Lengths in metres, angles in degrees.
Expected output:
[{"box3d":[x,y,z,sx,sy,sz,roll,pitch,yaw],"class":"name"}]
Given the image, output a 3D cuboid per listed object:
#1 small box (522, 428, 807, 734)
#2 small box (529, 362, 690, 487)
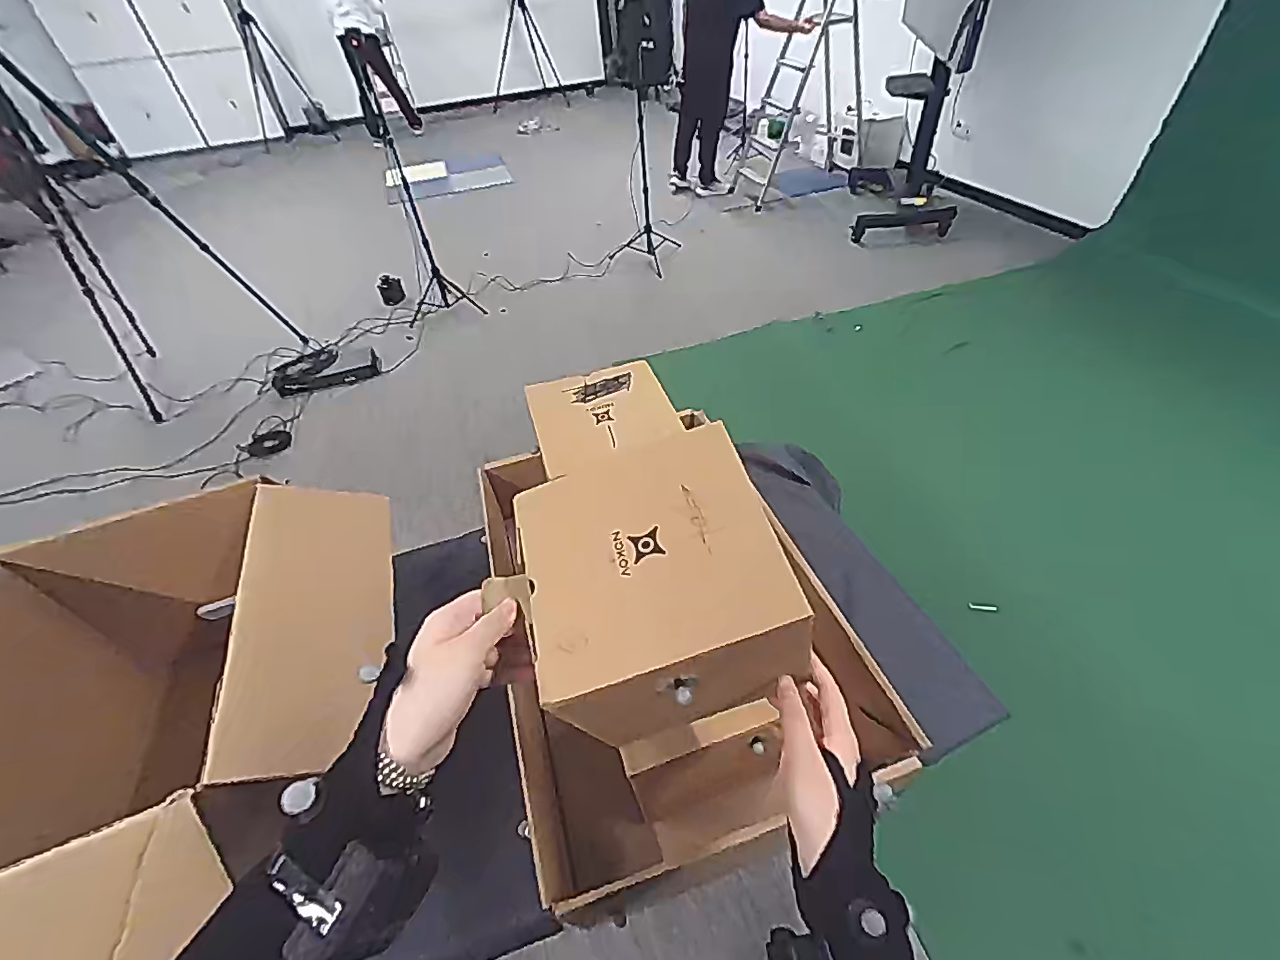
[{"box3d":[0.024,0.093,0.447,0.179,0.176,0.168,-20,55,2],"class":"small box"},{"box3d":[-0.038,-0.025,0.708,0.168,0.176,0.179,-15,49,-9],"class":"small box"}]
